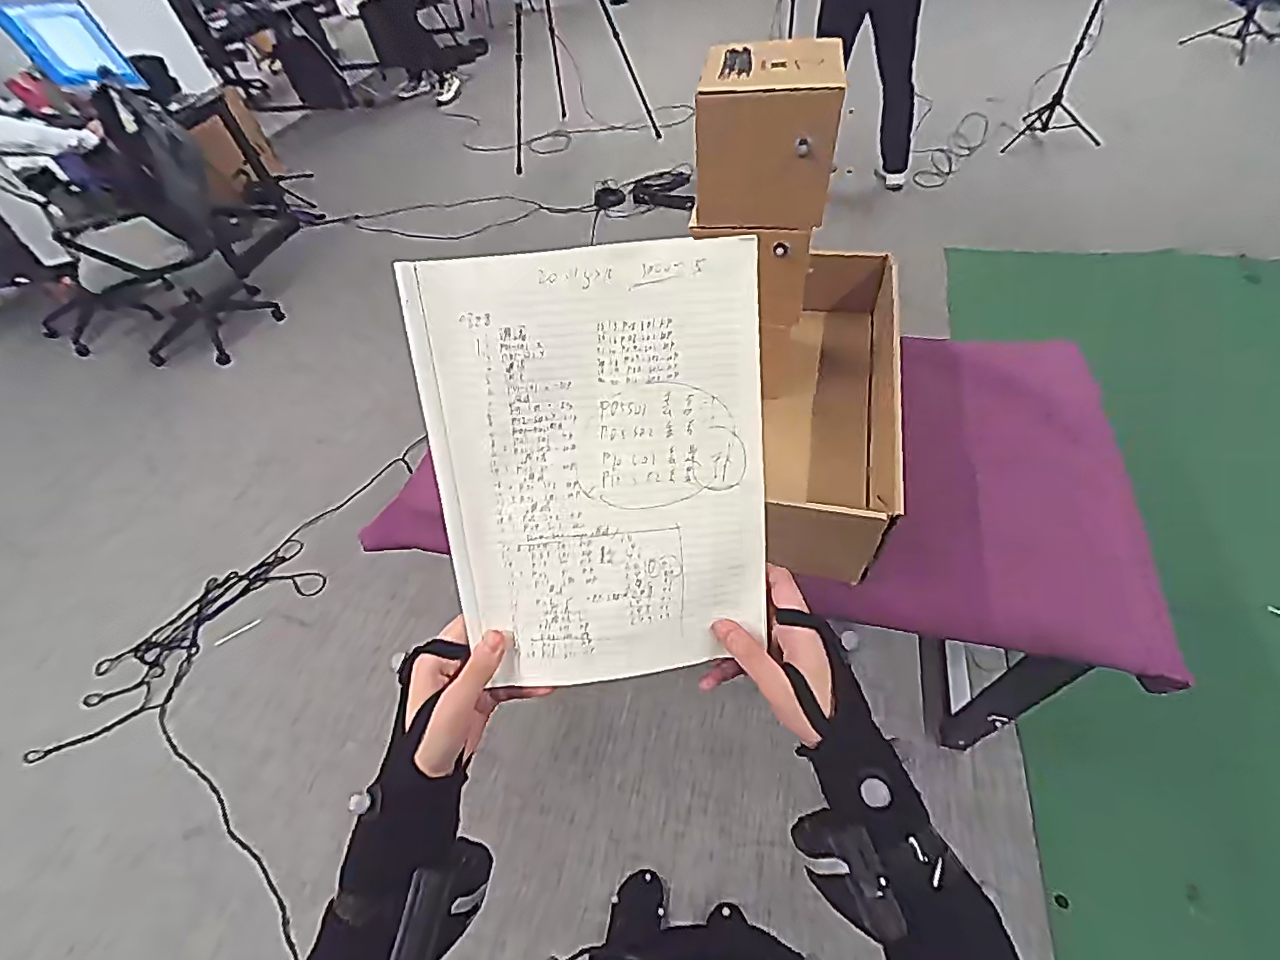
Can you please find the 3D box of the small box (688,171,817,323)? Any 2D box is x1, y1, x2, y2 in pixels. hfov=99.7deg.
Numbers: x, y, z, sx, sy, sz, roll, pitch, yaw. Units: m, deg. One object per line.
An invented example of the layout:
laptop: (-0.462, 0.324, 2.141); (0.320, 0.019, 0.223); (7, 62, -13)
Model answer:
small box: (0.180, -0.372, 0.872); (0.179, 0.176, 0.168); (7, 55, 13)

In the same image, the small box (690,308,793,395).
small box: (0.194, -0.279, 1.003); (0.168, 0.176, 0.179); (9, 56, 14)
